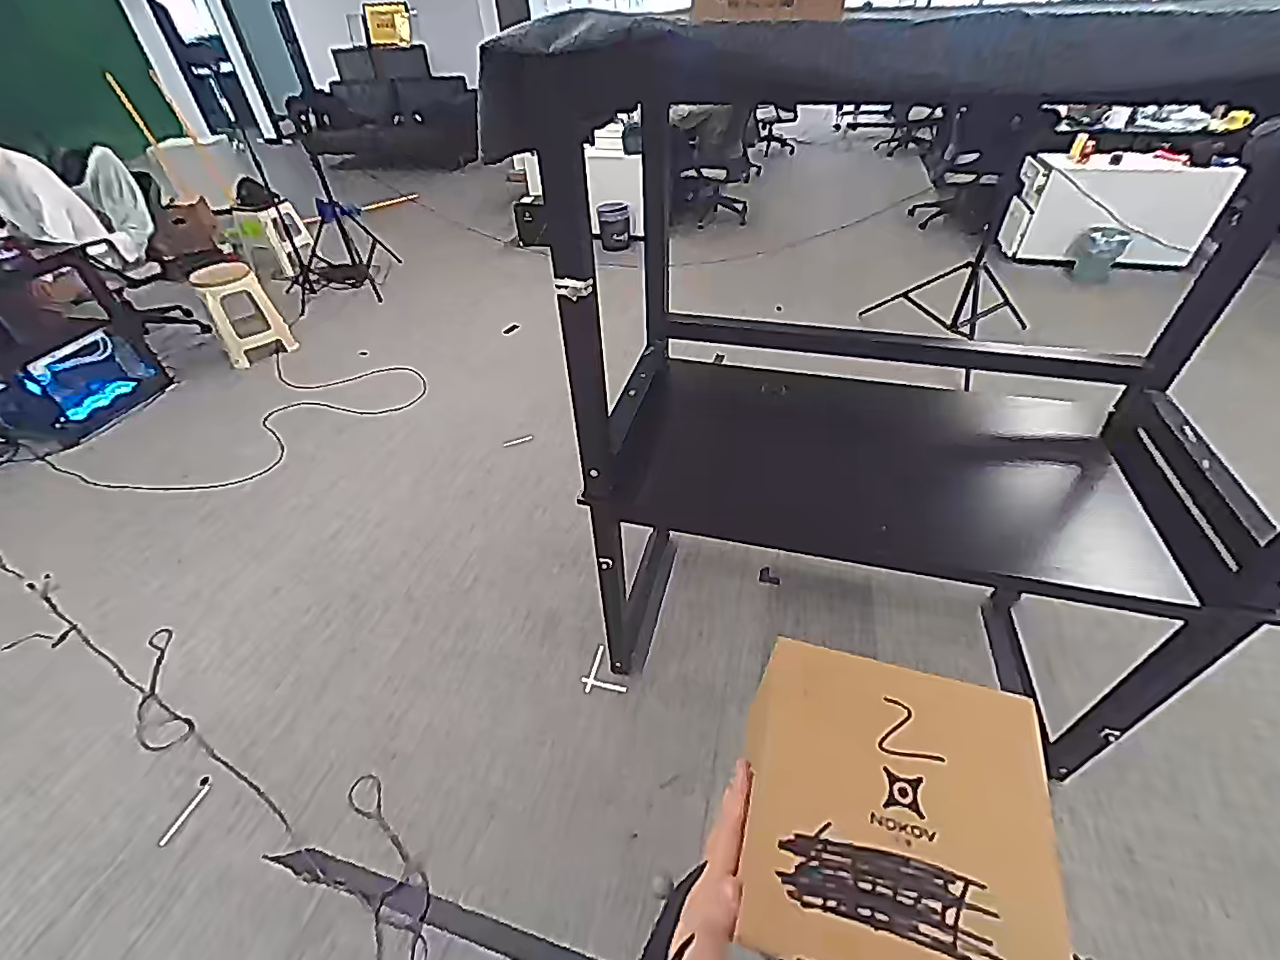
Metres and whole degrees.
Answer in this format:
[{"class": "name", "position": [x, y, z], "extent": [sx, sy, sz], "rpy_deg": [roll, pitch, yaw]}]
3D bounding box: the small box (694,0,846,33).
[{"class": "small box", "position": [0.153, -0.608, 0.598], "extent": [0.168, 0.176, 0.179], "rpy_deg": [8, 41, 10]}]
